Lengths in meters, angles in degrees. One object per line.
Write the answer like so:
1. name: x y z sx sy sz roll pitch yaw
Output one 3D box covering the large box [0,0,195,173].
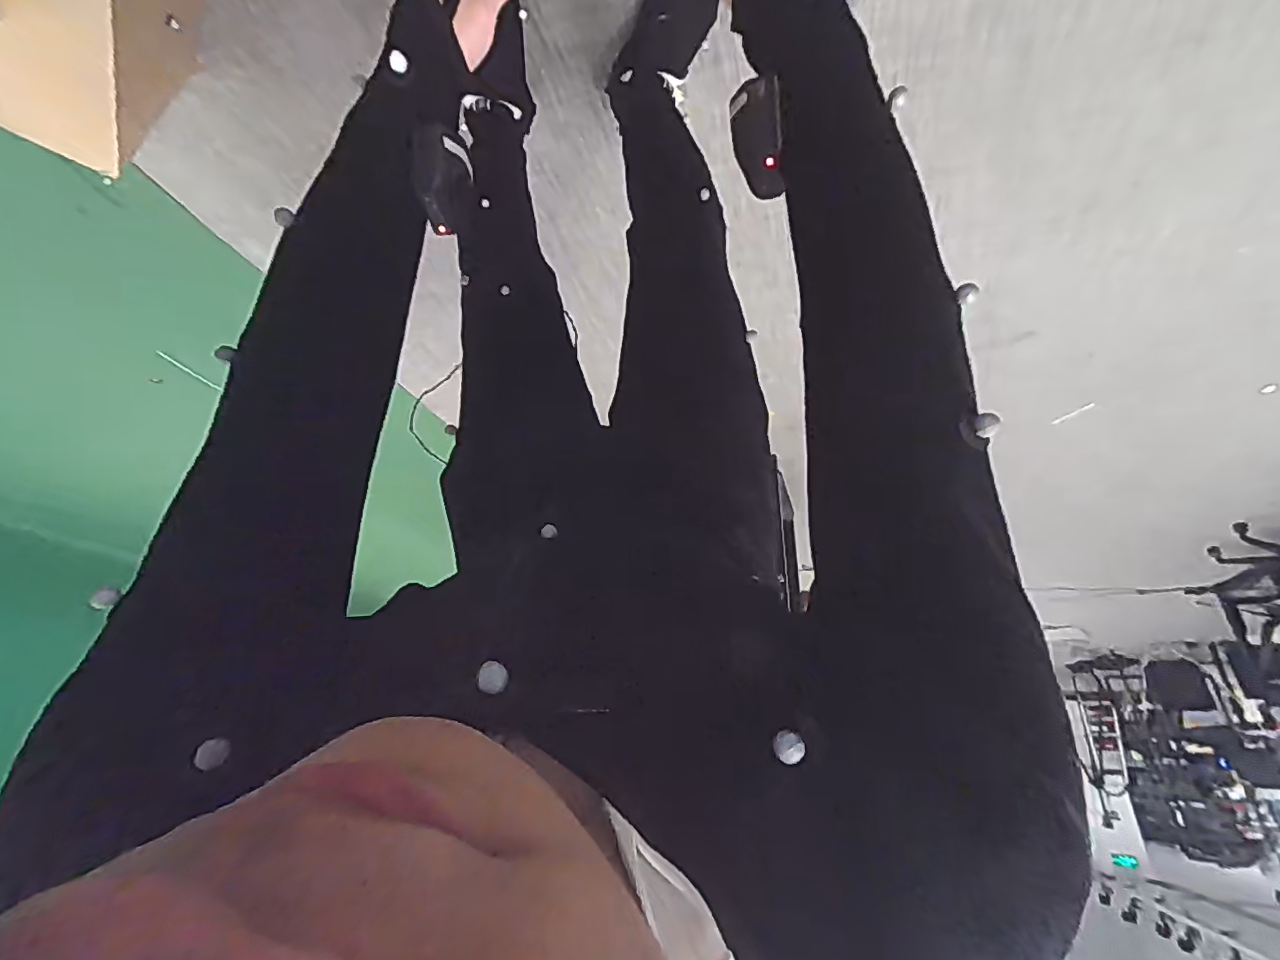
1. large box: -0.832 -0.741 0.719 0.320 0.320 0.408 22 148 -34
